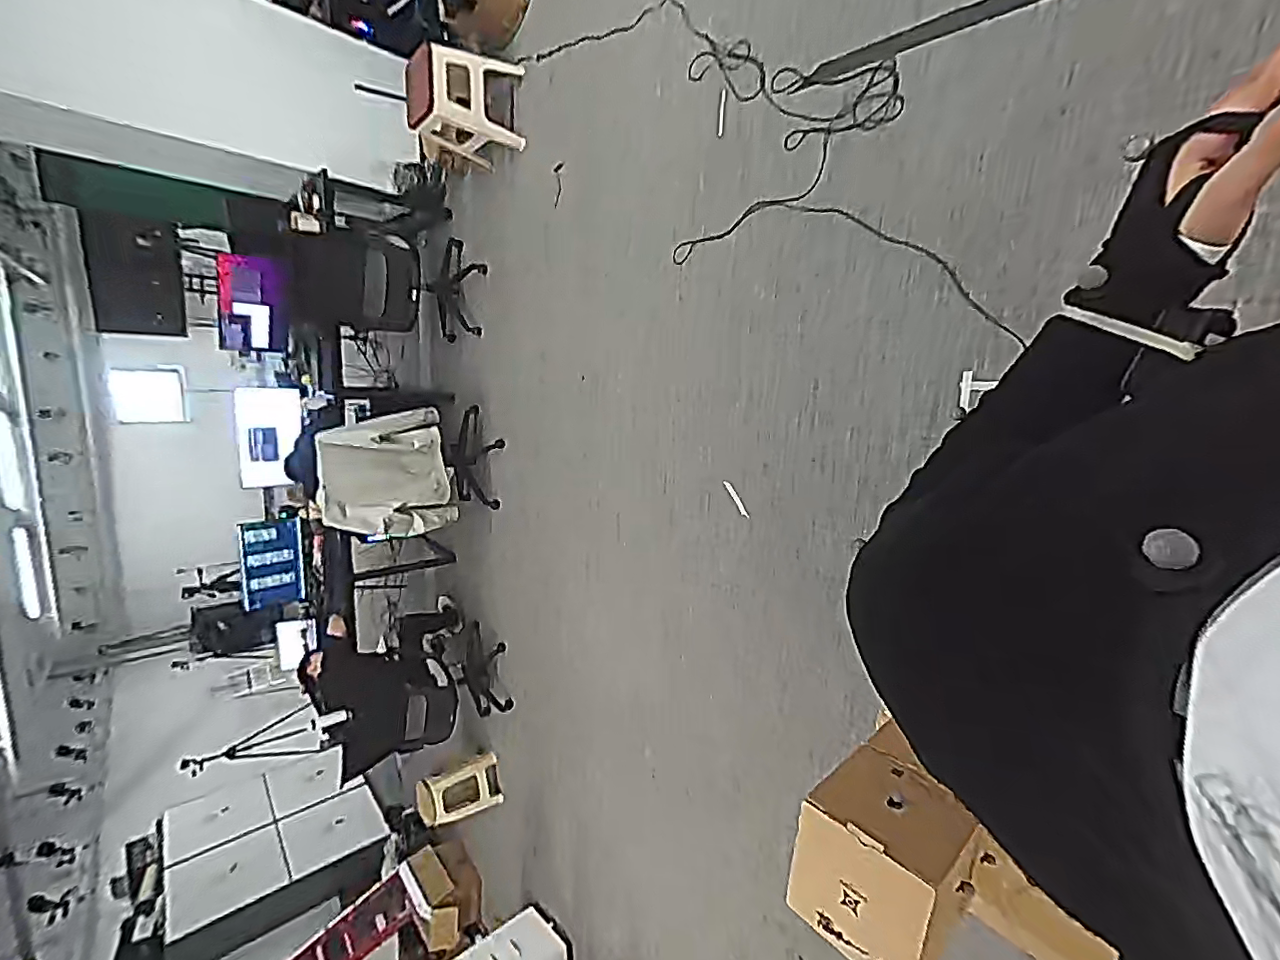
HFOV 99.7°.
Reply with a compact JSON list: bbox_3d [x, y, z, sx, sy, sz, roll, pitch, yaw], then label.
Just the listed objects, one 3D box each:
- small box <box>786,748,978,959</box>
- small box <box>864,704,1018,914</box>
[{"bbox_3d":[0.320,0.495,0.712,0.168,0.176,0.179,18,107,45],"label":"small box"},{"bbox_3d":[0.444,0.479,0.818,0.168,0.176,0.179,16,106,45],"label":"small box"}]
